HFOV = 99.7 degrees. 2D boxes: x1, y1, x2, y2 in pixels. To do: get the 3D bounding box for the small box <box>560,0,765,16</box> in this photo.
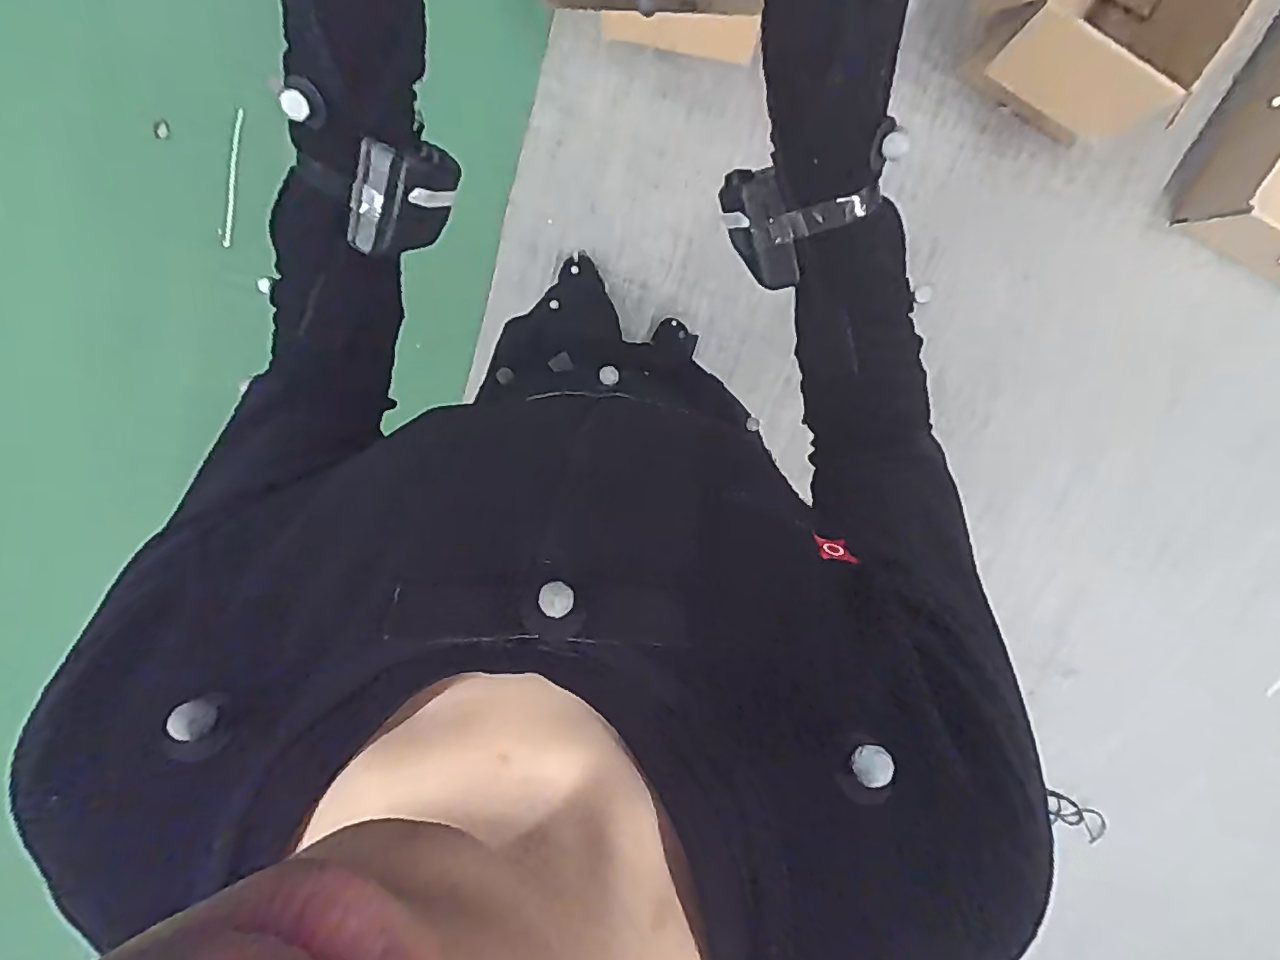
[{"bbox_3d":[0.007,-0.382,0.275,0.168,0.176,0.179,7,115,5],"label":"small box"}]
